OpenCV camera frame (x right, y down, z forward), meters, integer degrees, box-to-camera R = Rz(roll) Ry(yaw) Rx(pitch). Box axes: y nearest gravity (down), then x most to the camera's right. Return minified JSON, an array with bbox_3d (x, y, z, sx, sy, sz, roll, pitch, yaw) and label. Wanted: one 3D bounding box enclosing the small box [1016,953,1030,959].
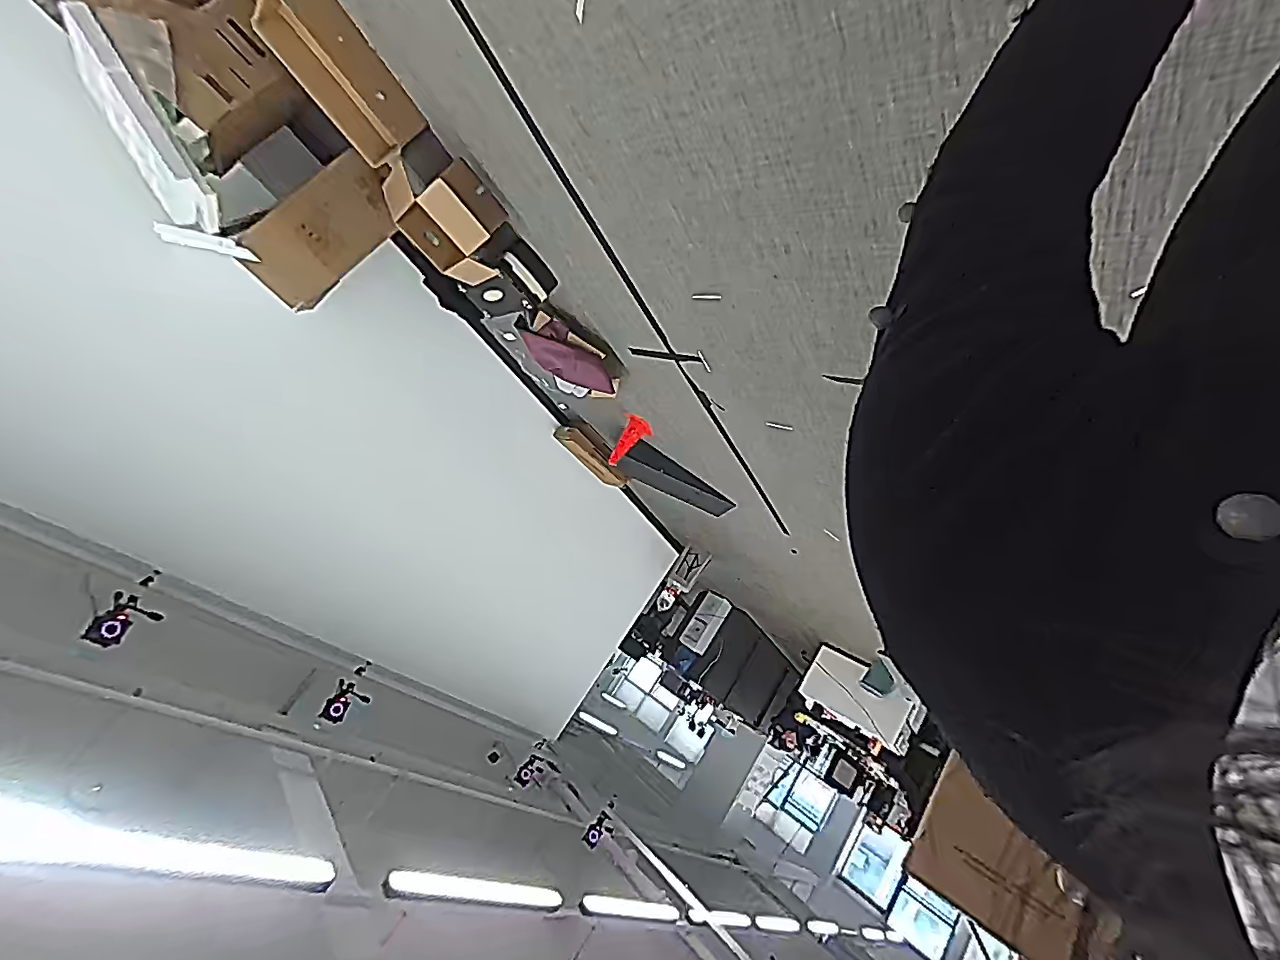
[{"bbox_3d":[1.235,1.611,1.667,0.168,0.176,0.179,21,160,45],"label":"small box"}]
